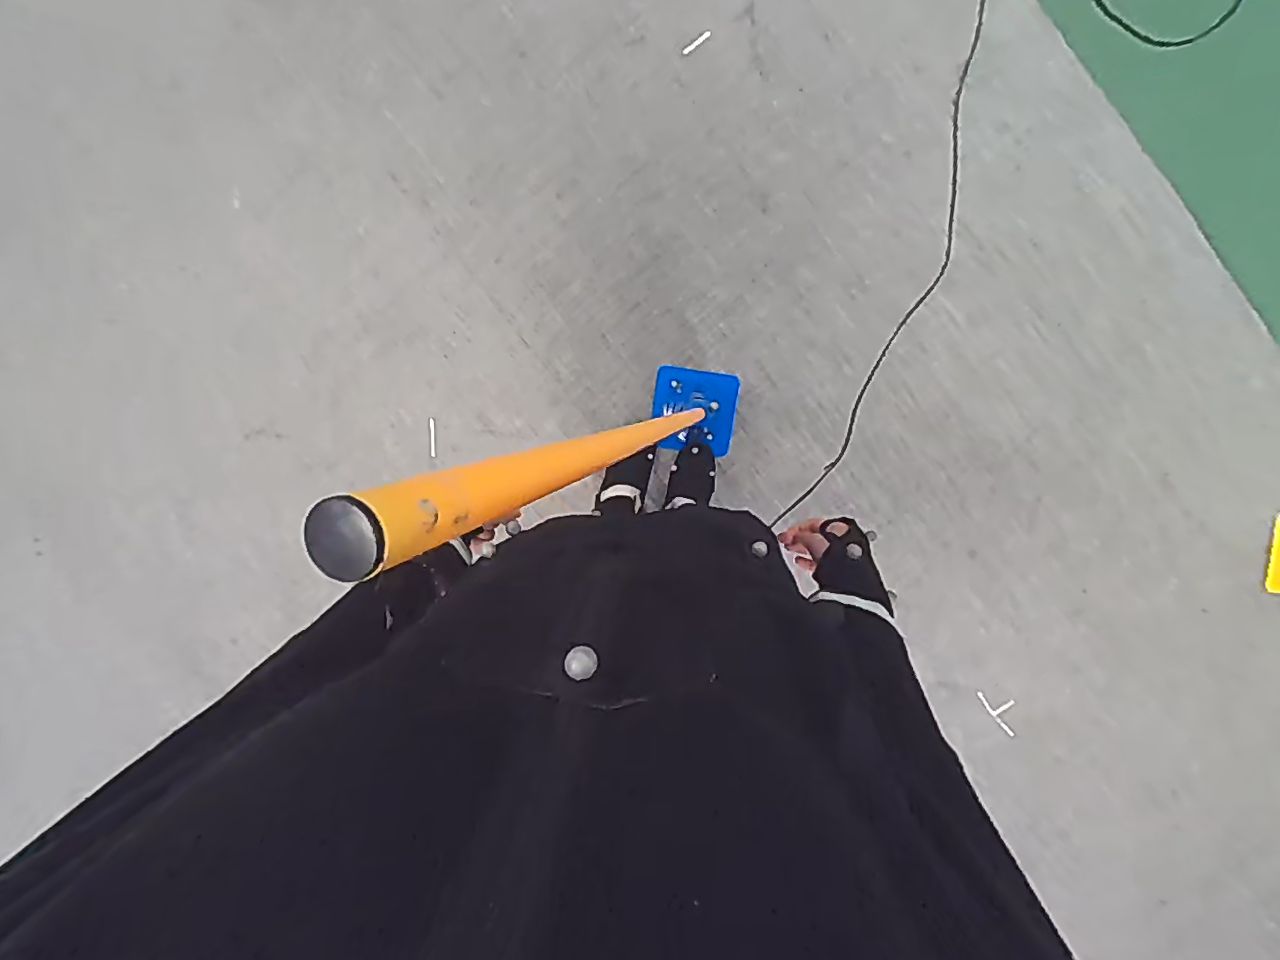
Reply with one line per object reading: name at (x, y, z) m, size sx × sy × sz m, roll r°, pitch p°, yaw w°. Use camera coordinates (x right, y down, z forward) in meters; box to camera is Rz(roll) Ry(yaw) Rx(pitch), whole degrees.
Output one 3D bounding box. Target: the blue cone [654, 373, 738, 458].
blue cone at (0.116, -0.129, 1.111) m, size 0.193 × 0.380 × 0.192 m, roll 8°, pitch 98°, yaw 4°
